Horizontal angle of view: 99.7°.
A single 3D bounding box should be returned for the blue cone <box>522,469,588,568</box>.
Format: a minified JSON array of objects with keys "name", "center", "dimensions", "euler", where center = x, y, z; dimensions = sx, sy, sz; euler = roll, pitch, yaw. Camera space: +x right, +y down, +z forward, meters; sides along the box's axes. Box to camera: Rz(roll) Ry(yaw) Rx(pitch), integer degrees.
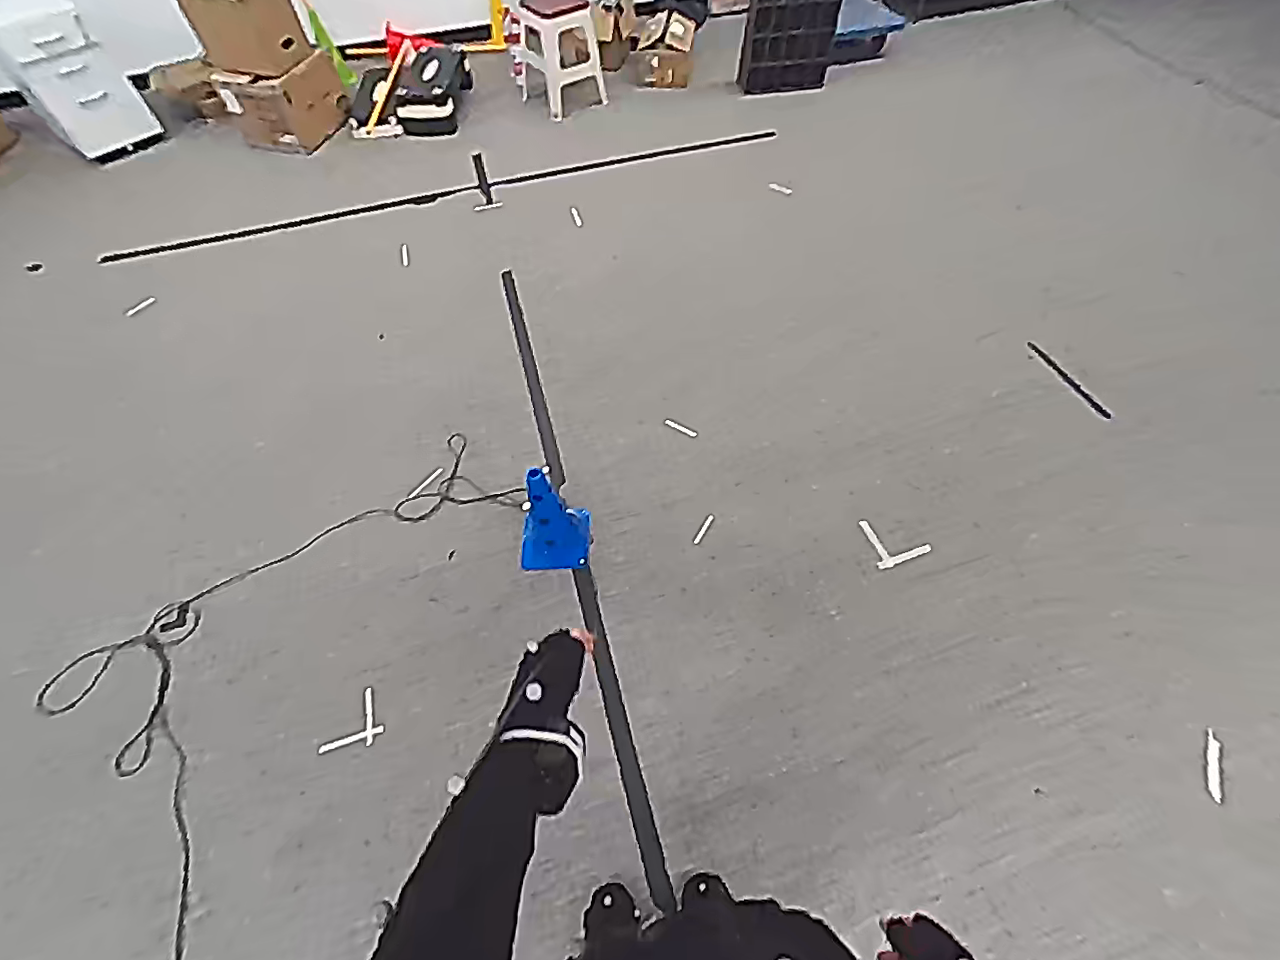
[{"name":"blue cone","center":[-0.256,0.088,1.490],"dimensions":[0.192,0.380,0.193],"euler":[-1,57,0]}]
